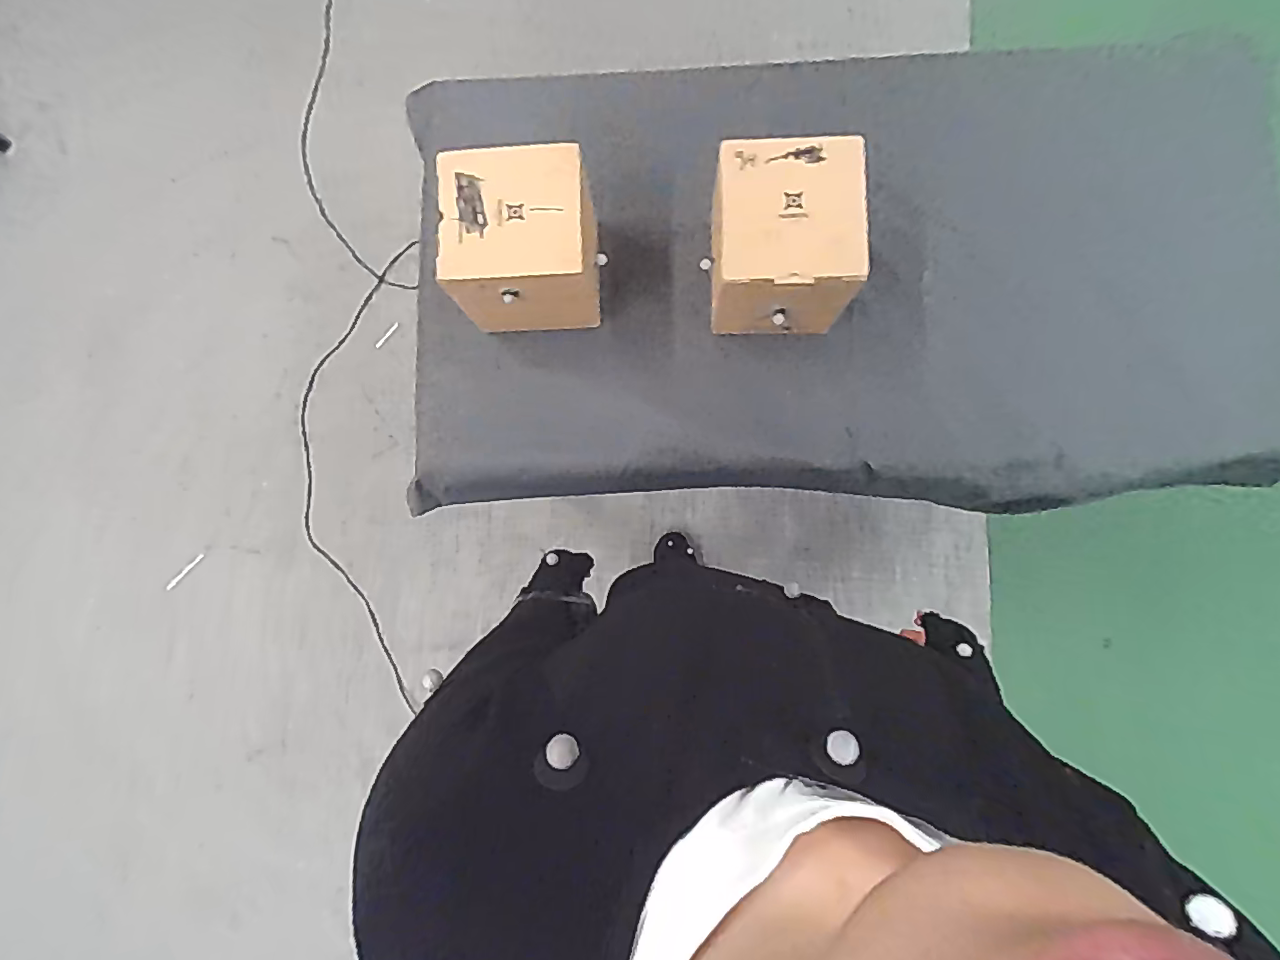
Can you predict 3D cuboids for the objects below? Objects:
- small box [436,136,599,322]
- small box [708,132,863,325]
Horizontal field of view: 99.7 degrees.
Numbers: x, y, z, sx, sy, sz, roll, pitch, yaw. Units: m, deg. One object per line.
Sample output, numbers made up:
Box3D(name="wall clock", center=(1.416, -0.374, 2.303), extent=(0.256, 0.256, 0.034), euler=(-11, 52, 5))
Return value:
Box3D(name="small box", center=(-0.152, -0.319, 0.719), extent=(0.179, 0.176, 0.168), euler=(-2, 85, 2))
Box3D(name="small box", center=(0.178, -0.310, 0.701), extent=(0.168, 0.176, 0.179), euler=(1, 86, 3))
